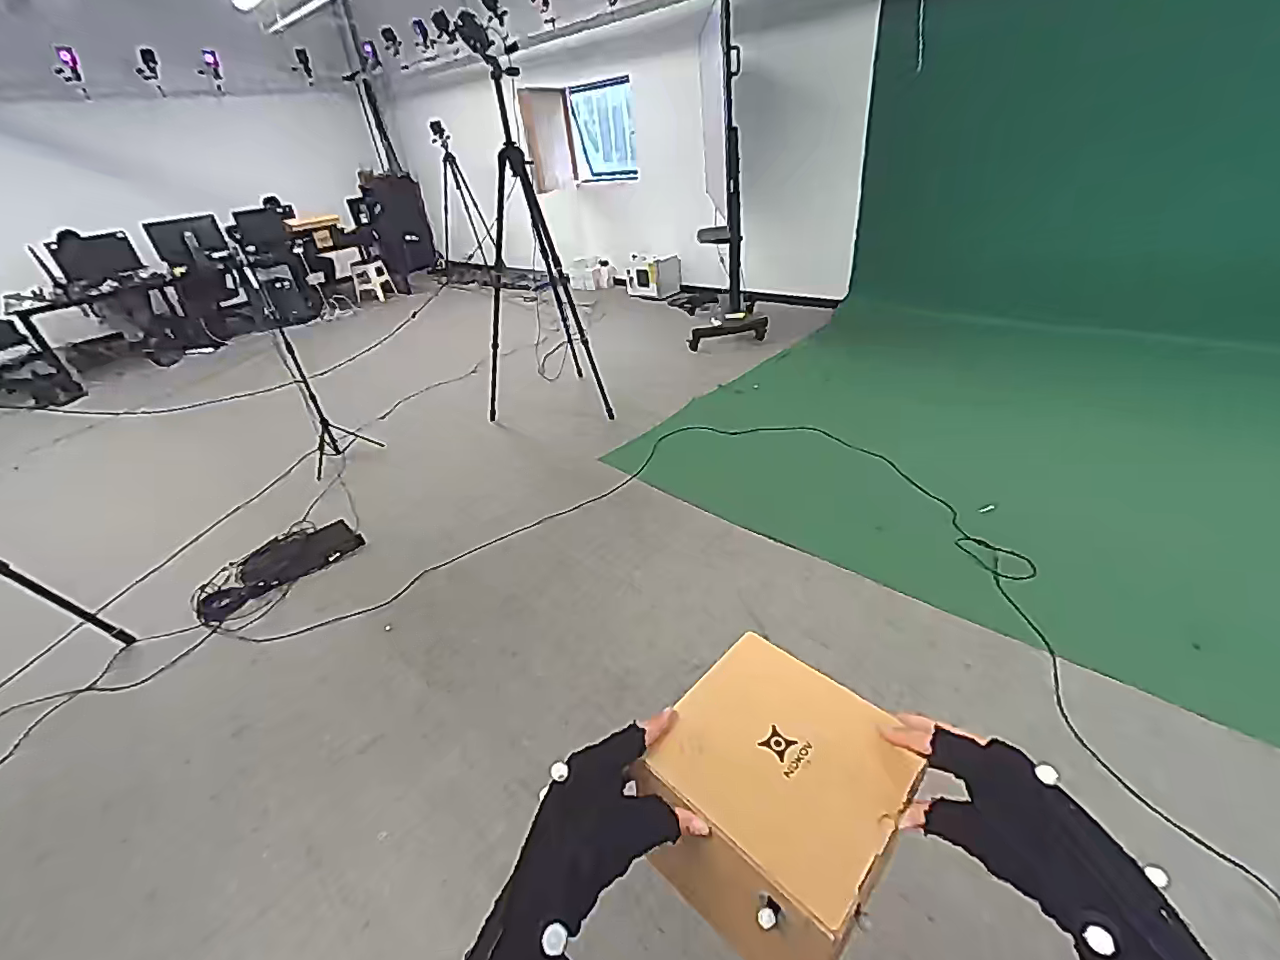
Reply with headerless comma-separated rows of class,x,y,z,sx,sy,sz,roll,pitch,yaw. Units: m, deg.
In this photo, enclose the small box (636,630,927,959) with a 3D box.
small box,0.114,0.277,0.477,0.179,0.176,0.168,27,42,36
